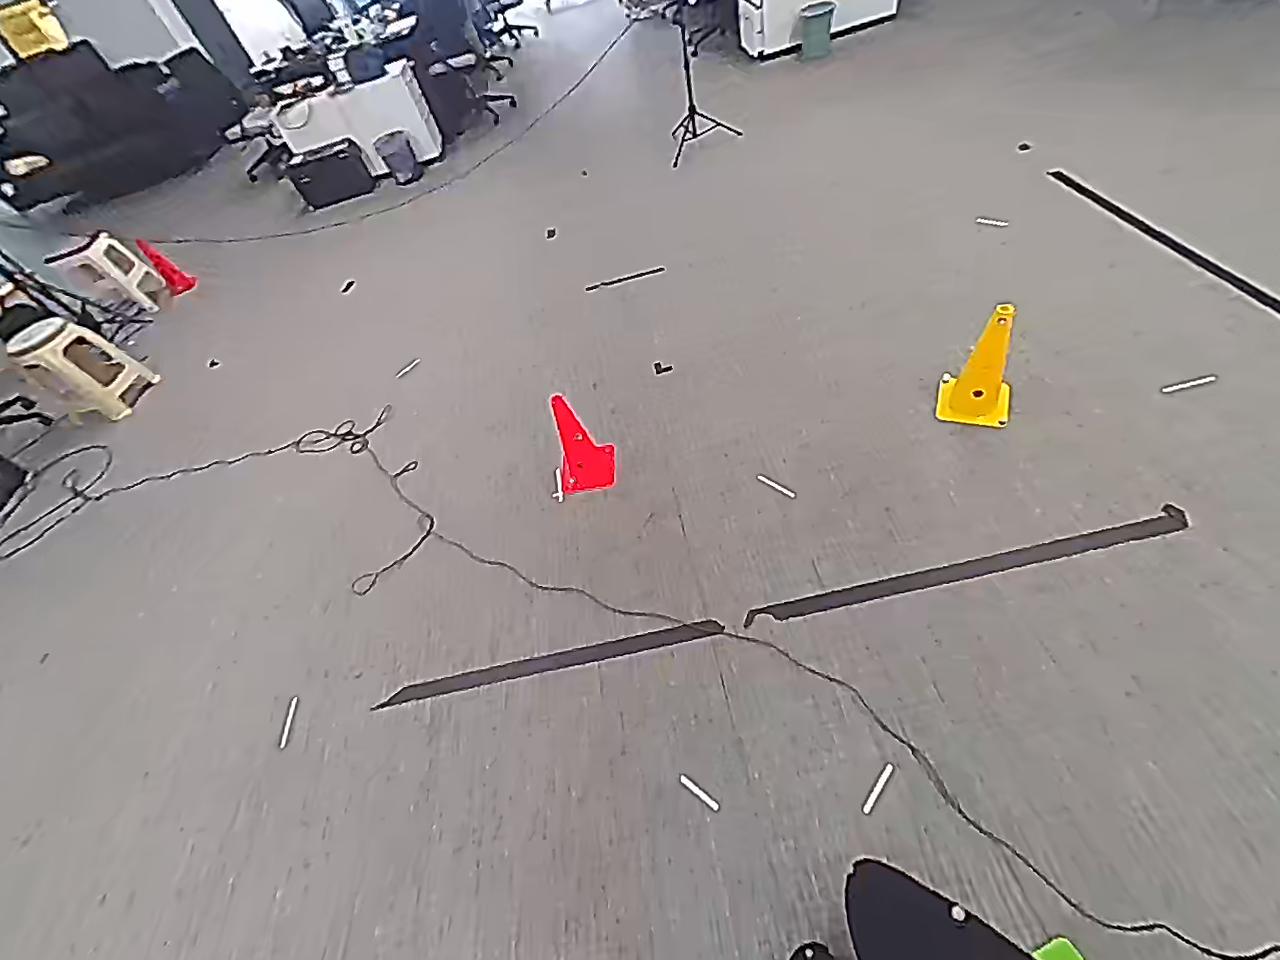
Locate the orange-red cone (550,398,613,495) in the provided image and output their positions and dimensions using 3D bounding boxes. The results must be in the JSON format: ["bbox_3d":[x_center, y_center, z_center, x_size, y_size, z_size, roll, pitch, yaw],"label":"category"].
[{"bbox_3d":[-0.227,-0.137,1.814,0.199,0.360,0.198,-8,51,8],"label":"orange-red cone"}]

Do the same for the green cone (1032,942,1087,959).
[{"bbox_3d":[0.689,0.834,0.779,0.202,0.368,0.200,-28,50,-5],"label":"green cone"}]
